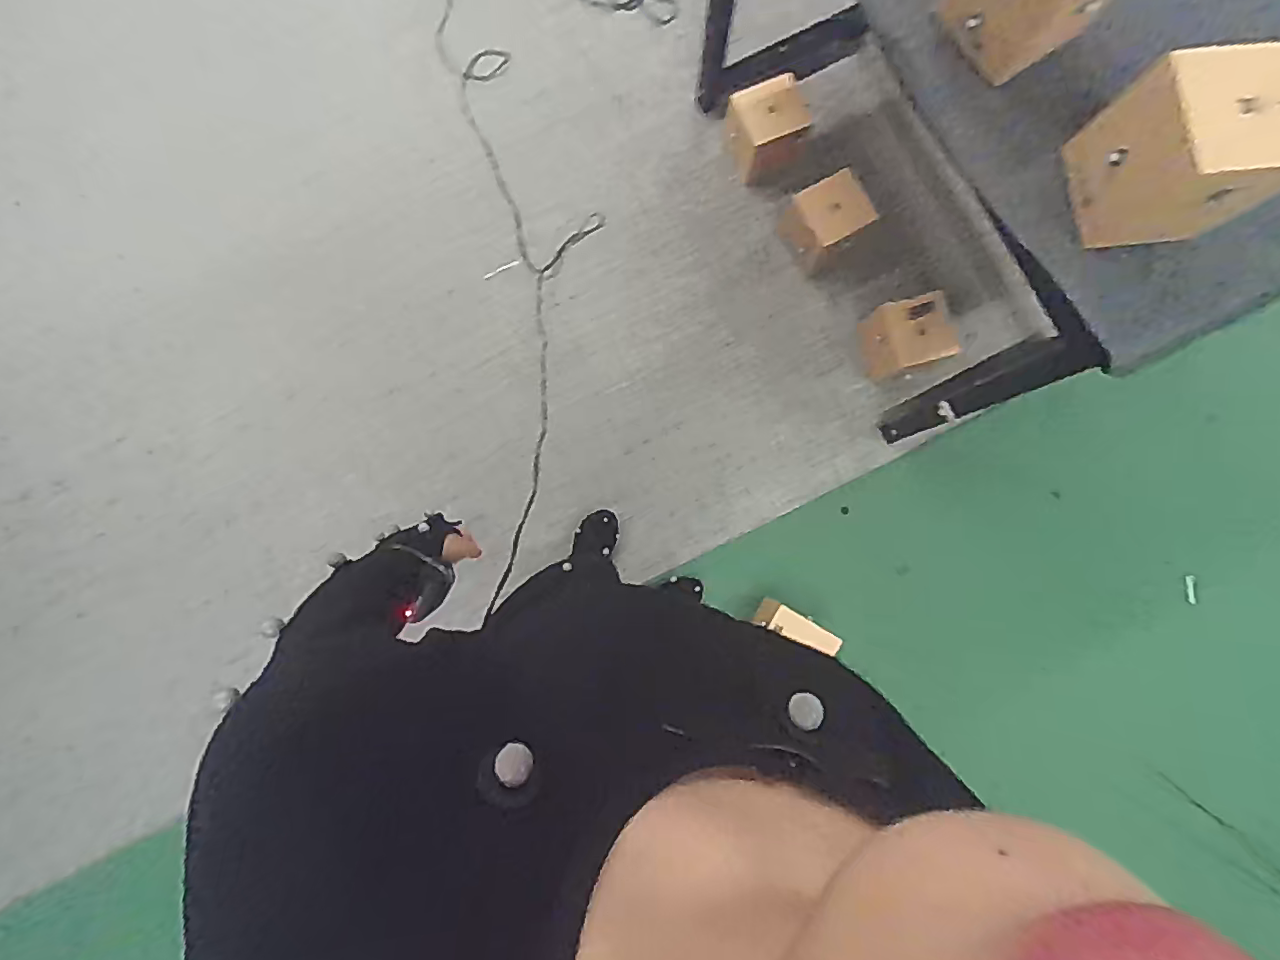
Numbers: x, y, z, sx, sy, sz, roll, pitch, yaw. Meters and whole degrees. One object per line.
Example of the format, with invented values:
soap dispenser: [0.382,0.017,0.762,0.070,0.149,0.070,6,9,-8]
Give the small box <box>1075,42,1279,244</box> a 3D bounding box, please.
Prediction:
small box: [0.735,-0.440,0.730,0.179,0.176,0.168,-6,84,-3]

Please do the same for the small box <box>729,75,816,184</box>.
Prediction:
small box: [0.361,-0.978,1.525,0.179,0.176,0.168,-23,84,-3]

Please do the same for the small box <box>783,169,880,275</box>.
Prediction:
small box: [0.516,-0.702,1.494,0.179,0.176,0.168,-29,85,-4]

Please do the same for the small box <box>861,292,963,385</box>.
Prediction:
small box: [0.722,-0.374,1.458,0.168,0.176,0.179,-14,86,-1]

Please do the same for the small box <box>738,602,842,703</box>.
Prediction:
small box: [0.373,0.427,1.375,0.179,0.176,0.168,31,85,2]
